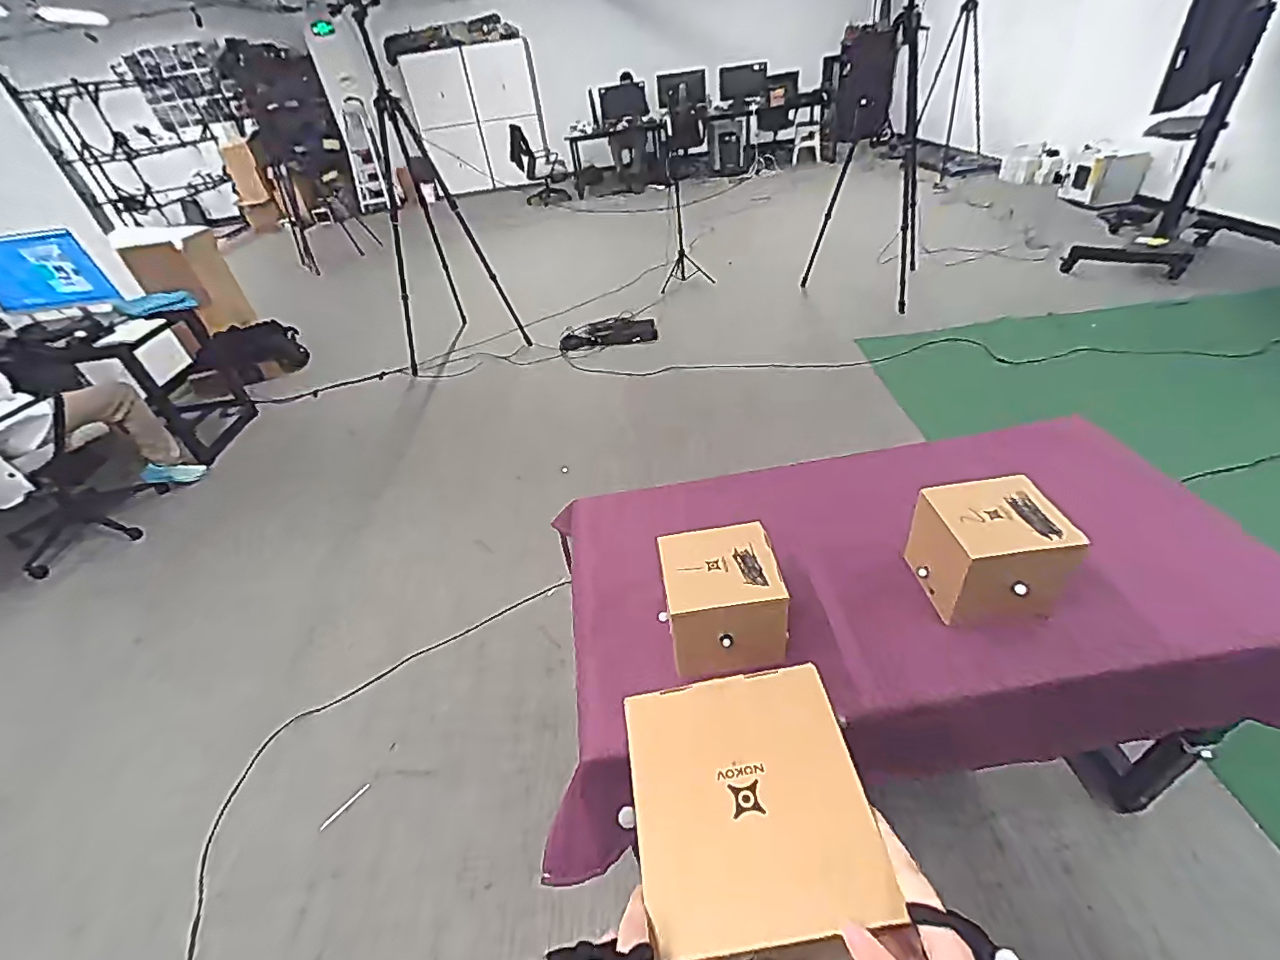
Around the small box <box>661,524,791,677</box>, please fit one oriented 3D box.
[{"bbox_3d":[0.135,0.198,0.886,0.179,0.176,0.168,-9,38,1],"label":"small box"}]

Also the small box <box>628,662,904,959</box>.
[{"bbox_3d":[0.091,0.285,0.452,0.168,0.176,0.179,-11,42,1],"label":"small box"}]
